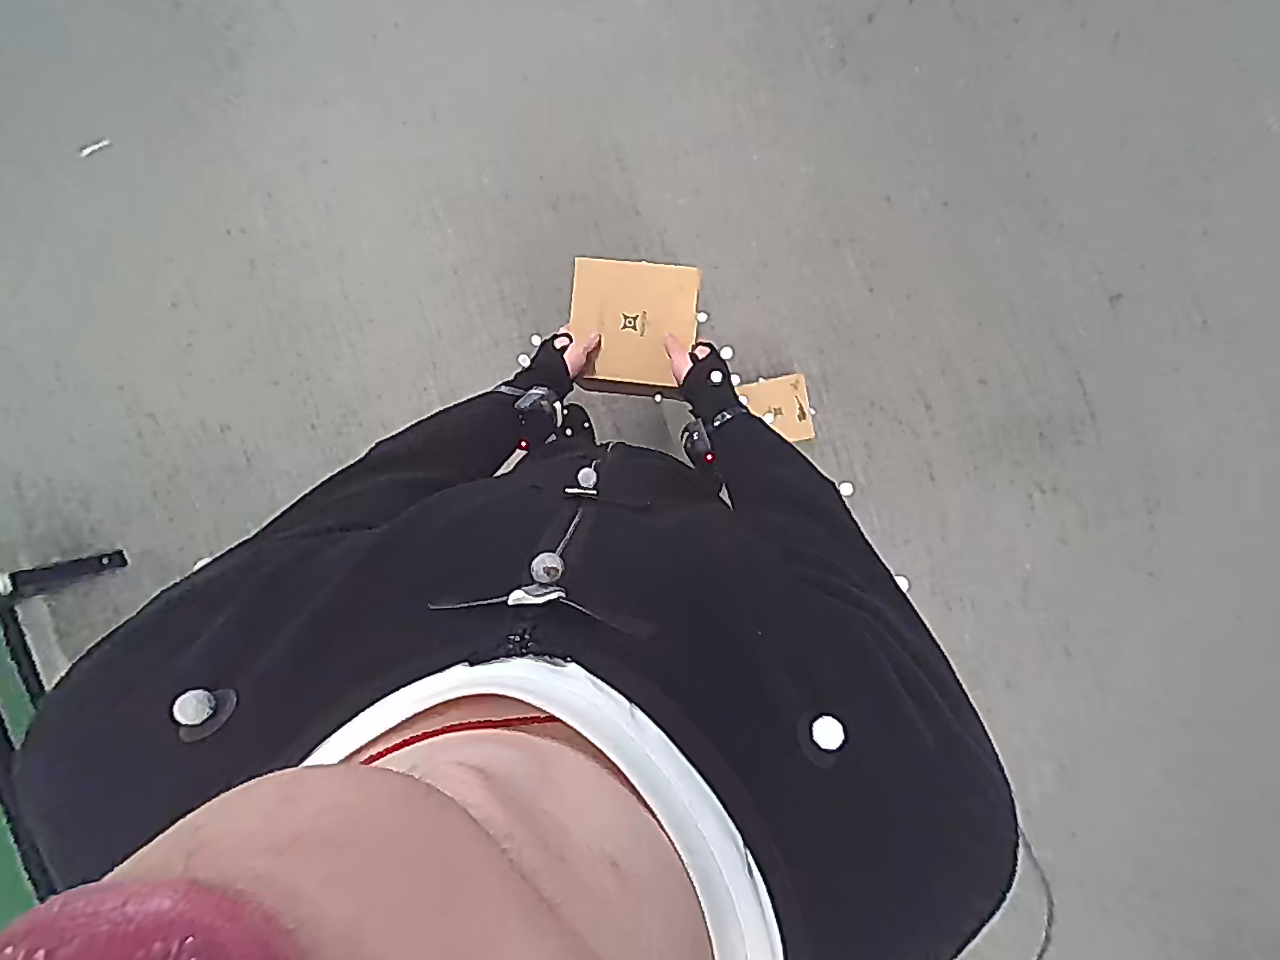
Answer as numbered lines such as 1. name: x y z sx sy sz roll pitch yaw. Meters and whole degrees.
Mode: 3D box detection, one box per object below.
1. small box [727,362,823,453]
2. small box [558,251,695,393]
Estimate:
1. small box: 0.347 -0.182 1.431 0.168 0.176 0.179 -40 87 5
2. small box: -0.016 -0.229 0.824 0.179 0.176 0.168 6 92 4
